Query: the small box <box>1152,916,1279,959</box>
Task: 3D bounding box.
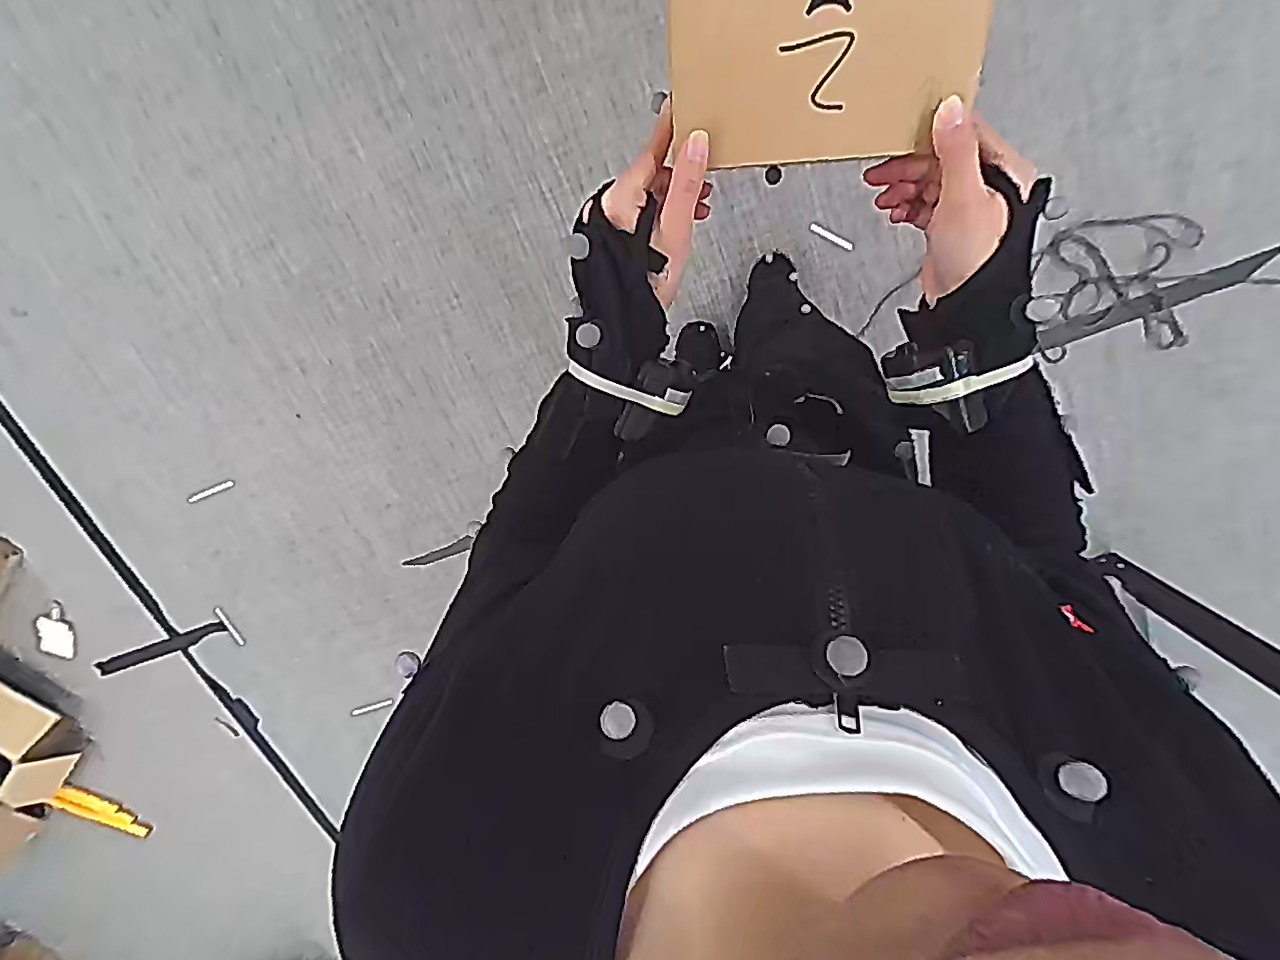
[{"bbox_3d":[0.858,0.747,0.746,0.179,0.176,0.168,-11,109,8],"label":"small box"}]
